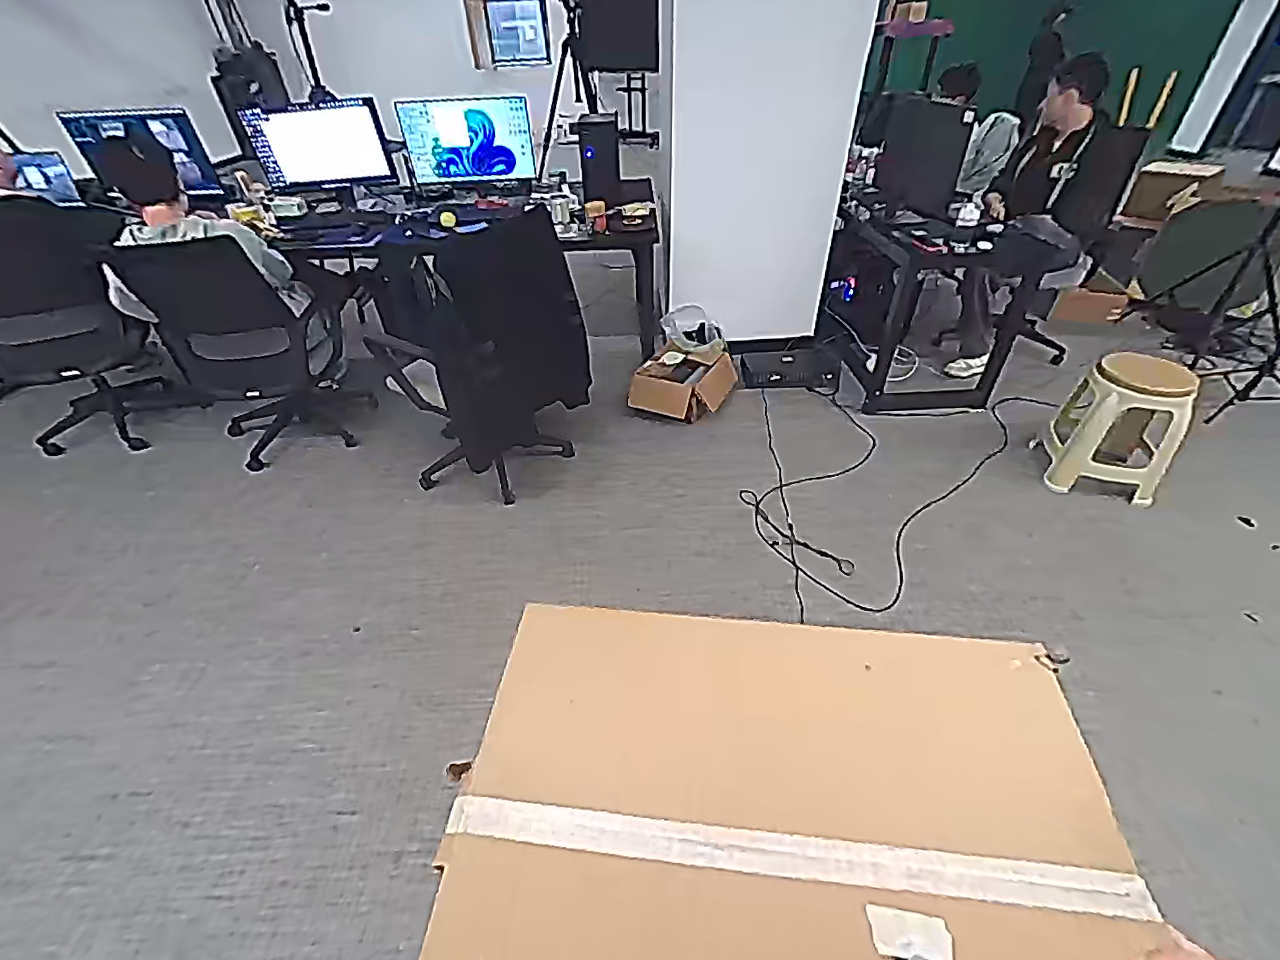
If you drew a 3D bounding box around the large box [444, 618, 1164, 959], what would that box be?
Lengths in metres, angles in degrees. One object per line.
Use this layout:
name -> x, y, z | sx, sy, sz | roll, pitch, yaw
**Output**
large box -> 0.095, 0.337, 0.439 | 0.408, 0.320, 0.320 | 3, 47, 6
